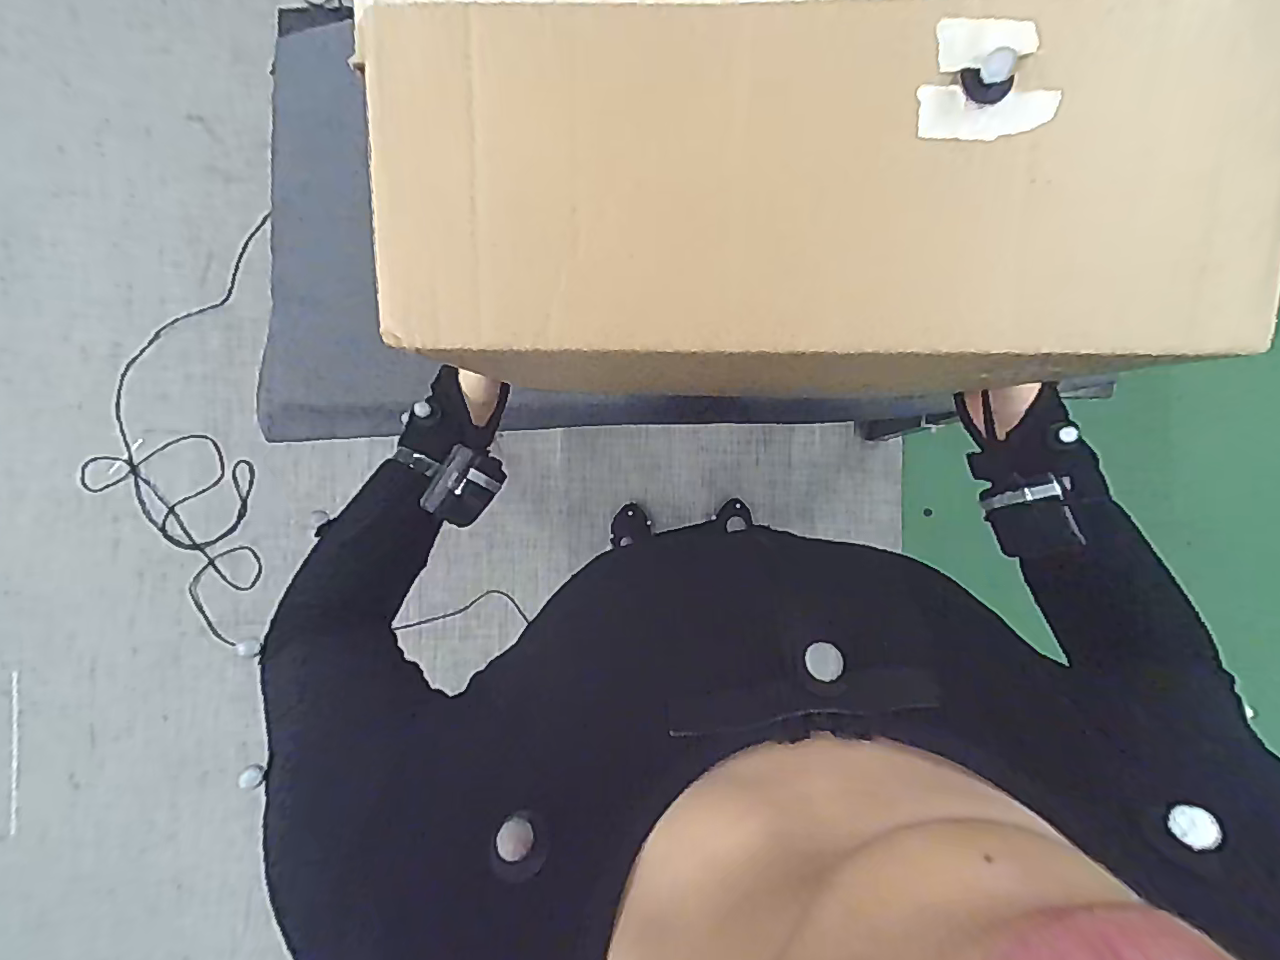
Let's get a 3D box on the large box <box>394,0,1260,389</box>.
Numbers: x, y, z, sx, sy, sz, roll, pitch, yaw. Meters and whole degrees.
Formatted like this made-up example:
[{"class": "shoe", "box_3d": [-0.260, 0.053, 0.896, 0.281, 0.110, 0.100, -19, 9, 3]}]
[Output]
[{"class": "large box", "box_3d": [0.083, -0.237, 0.400, 0.408, 0.320, 0.320, 0, 96, 2]}]
